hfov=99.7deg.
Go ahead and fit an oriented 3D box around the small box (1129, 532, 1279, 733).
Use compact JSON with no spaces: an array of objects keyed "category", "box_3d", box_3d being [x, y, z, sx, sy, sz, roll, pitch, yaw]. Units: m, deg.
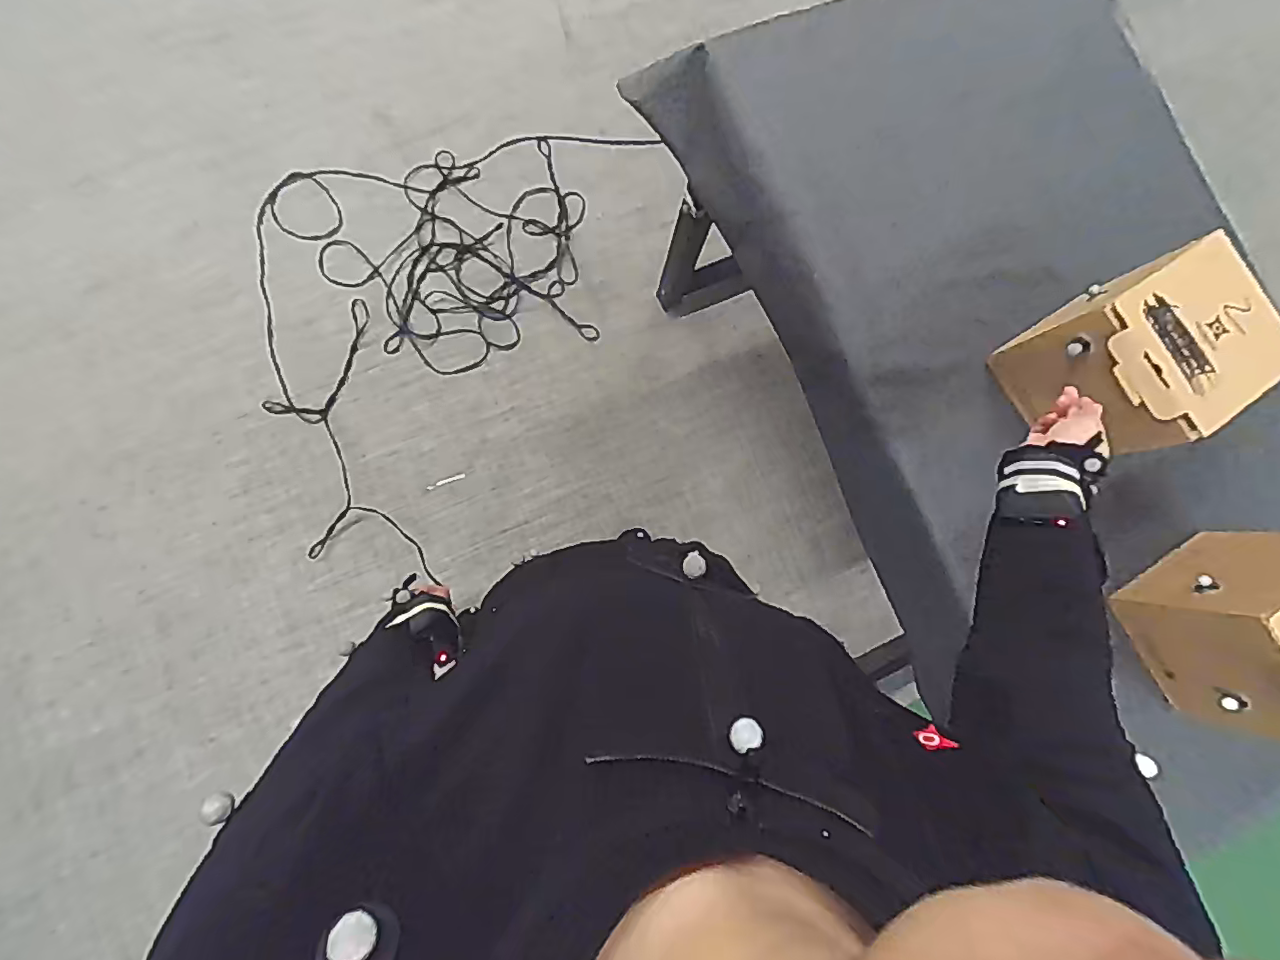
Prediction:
[{"category":"small box","box_3d":[0.719,0.171,0.615,0.179,0.176,0.168,-31,89,-9]}]
